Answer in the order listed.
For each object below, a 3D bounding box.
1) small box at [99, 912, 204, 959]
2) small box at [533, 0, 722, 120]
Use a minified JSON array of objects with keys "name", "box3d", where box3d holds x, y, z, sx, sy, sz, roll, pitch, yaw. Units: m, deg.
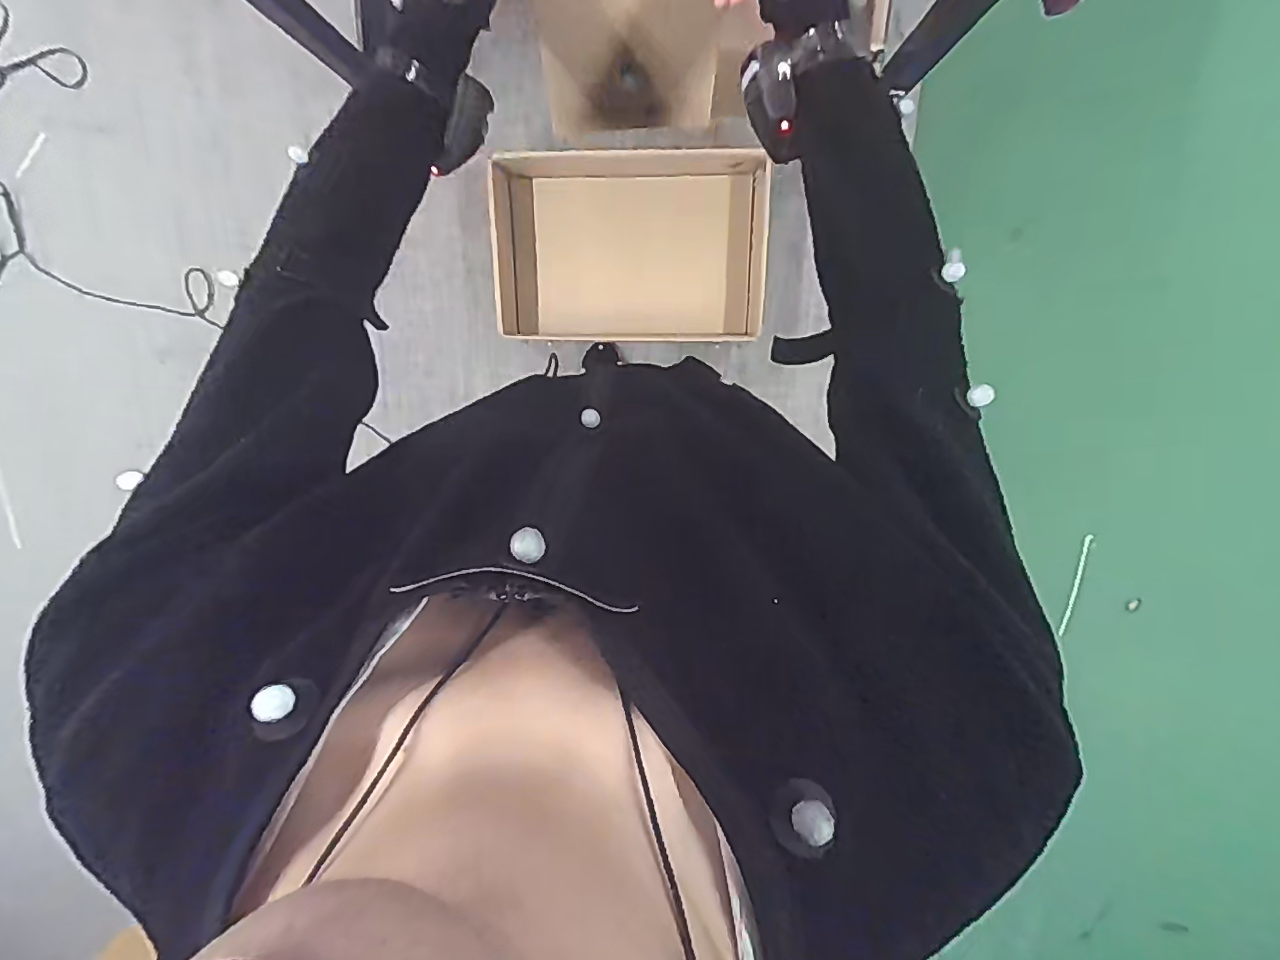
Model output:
[{"name":"small box","box3d":[-1.199,1.200,1.296,0.168,0.176,0.179,22,104,-3]},{"name":"small box","box3d":[-0.015,-0.479,0.510,0.168,0.176,0.179,-3,69,-1]}]
